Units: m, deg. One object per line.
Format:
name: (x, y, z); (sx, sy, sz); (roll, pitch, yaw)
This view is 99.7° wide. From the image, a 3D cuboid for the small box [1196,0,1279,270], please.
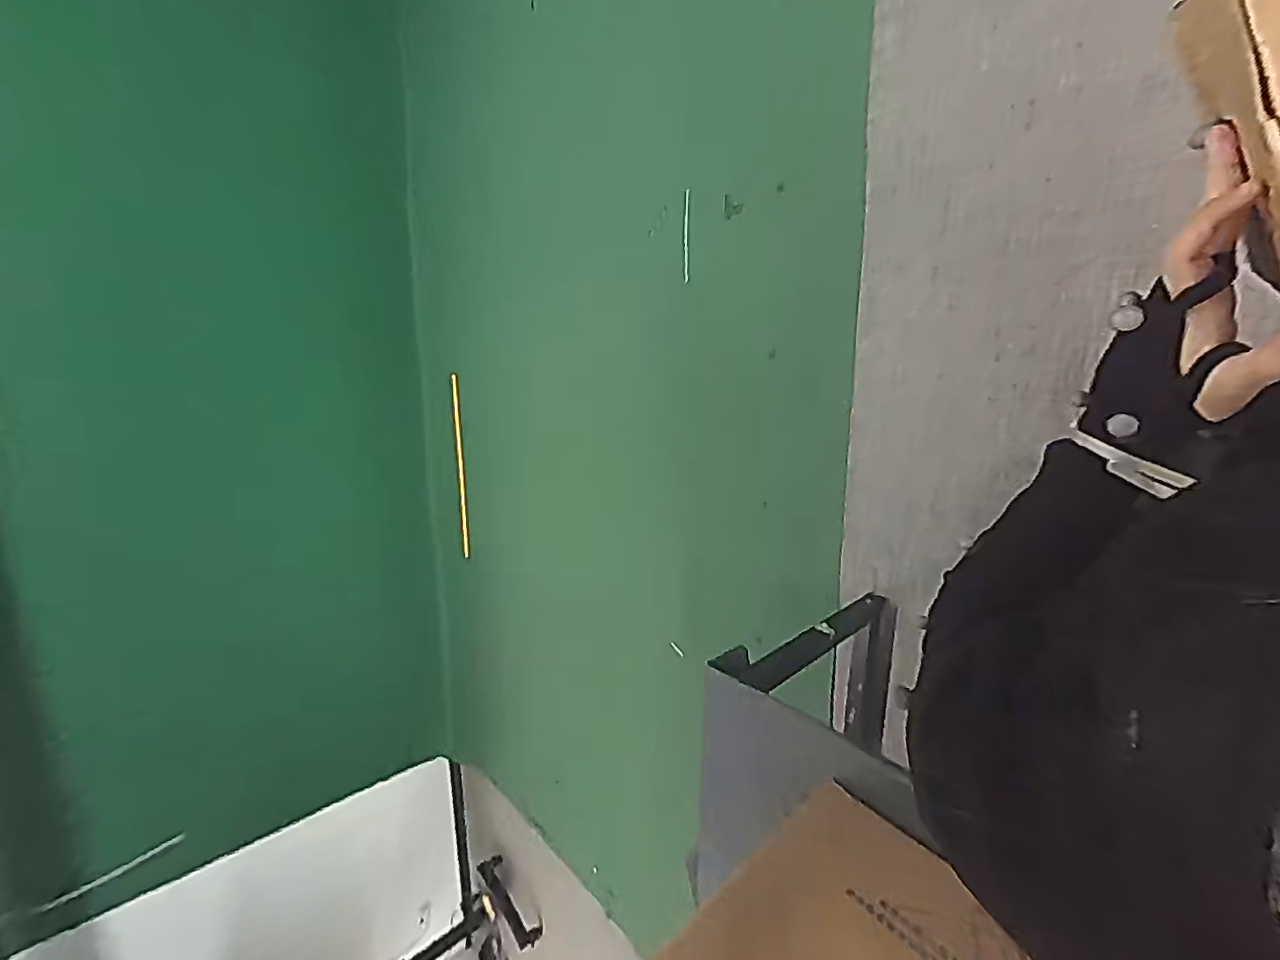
small box: (0.377, -0.189, 0.219); (0.179, 0.176, 0.168); (-20, 105, 47)
